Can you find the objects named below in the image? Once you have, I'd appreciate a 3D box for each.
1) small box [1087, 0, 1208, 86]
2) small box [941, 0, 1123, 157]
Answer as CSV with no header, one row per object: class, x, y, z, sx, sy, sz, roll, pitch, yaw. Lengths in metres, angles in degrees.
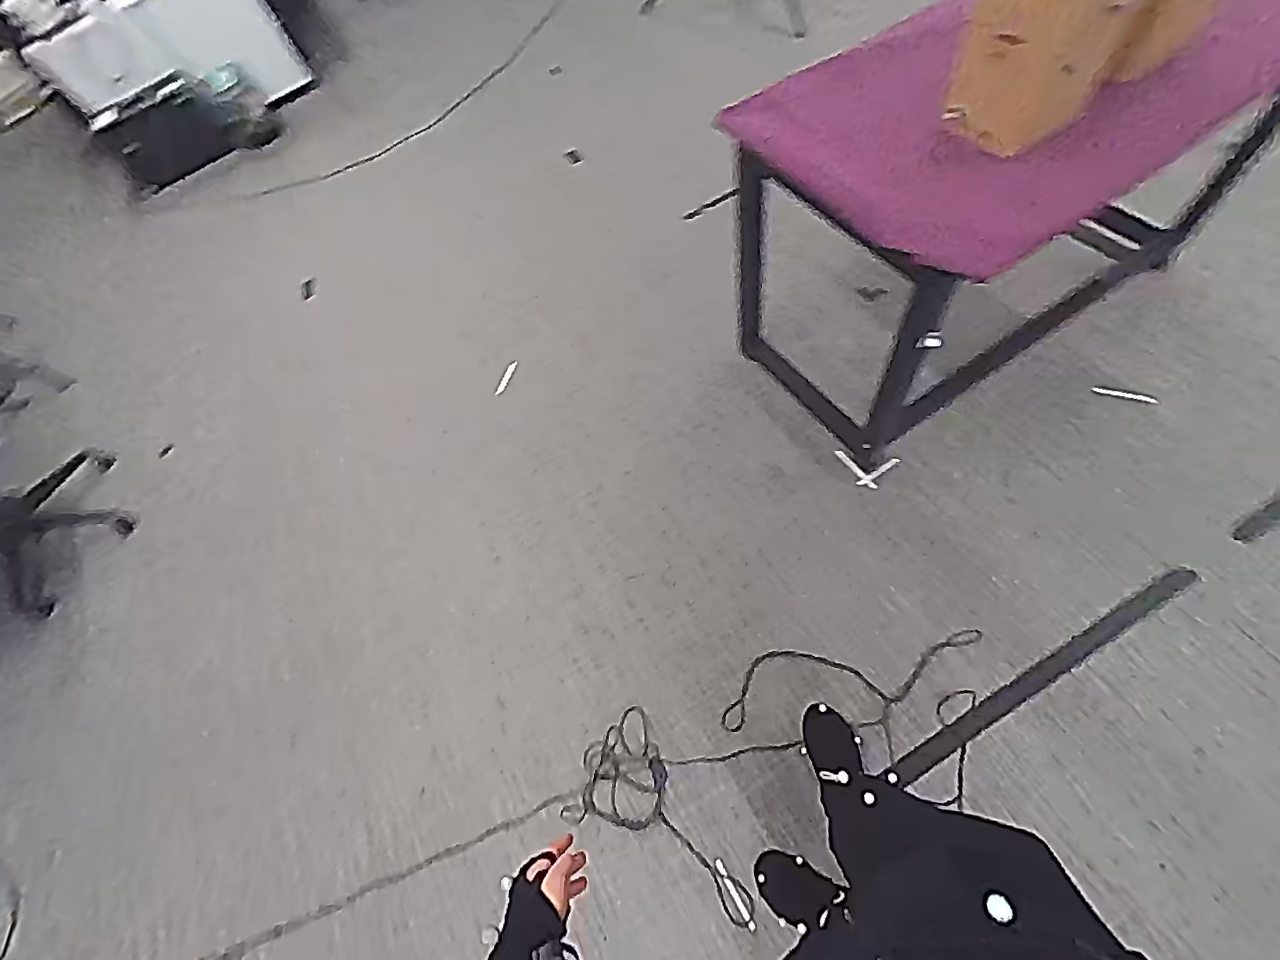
small box,0.899,-0.870,0.984,0.179,0.176,0.168,-33,62,-5
small box,0.664,-0.711,0.949,0.179,0.176,0.168,-32,62,-7
